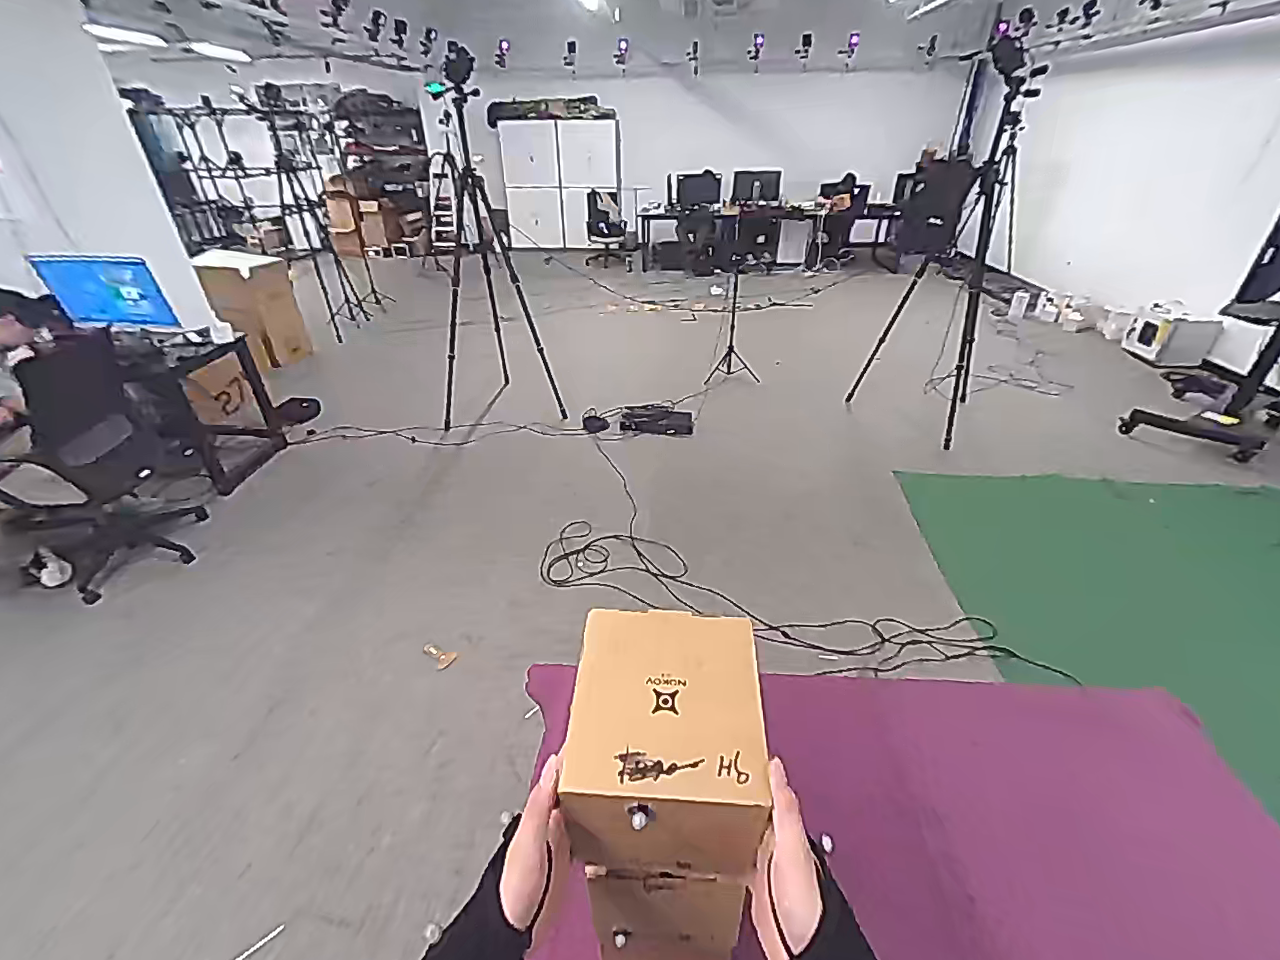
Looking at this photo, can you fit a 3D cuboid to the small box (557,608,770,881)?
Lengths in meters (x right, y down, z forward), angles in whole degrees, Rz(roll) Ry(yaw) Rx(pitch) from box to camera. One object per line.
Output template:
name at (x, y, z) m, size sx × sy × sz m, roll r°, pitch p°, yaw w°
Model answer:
small box at (0.024, 0.249, 0.521) m, size 0.168 × 0.176 × 0.179 m, roll 2°, pitch 38°, yaw 4°

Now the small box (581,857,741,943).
small box at (0.029, 0.420, 0.652) m, size 0.168 × 0.176 × 0.179 m, roll 0°, pitch 31°, yaw 3°

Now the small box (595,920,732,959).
small box at (0.032, 0.554, 0.747) m, size 0.168 × 0.176 × 0.179 m, roll 0°, pitch 33°, yaw 3°
